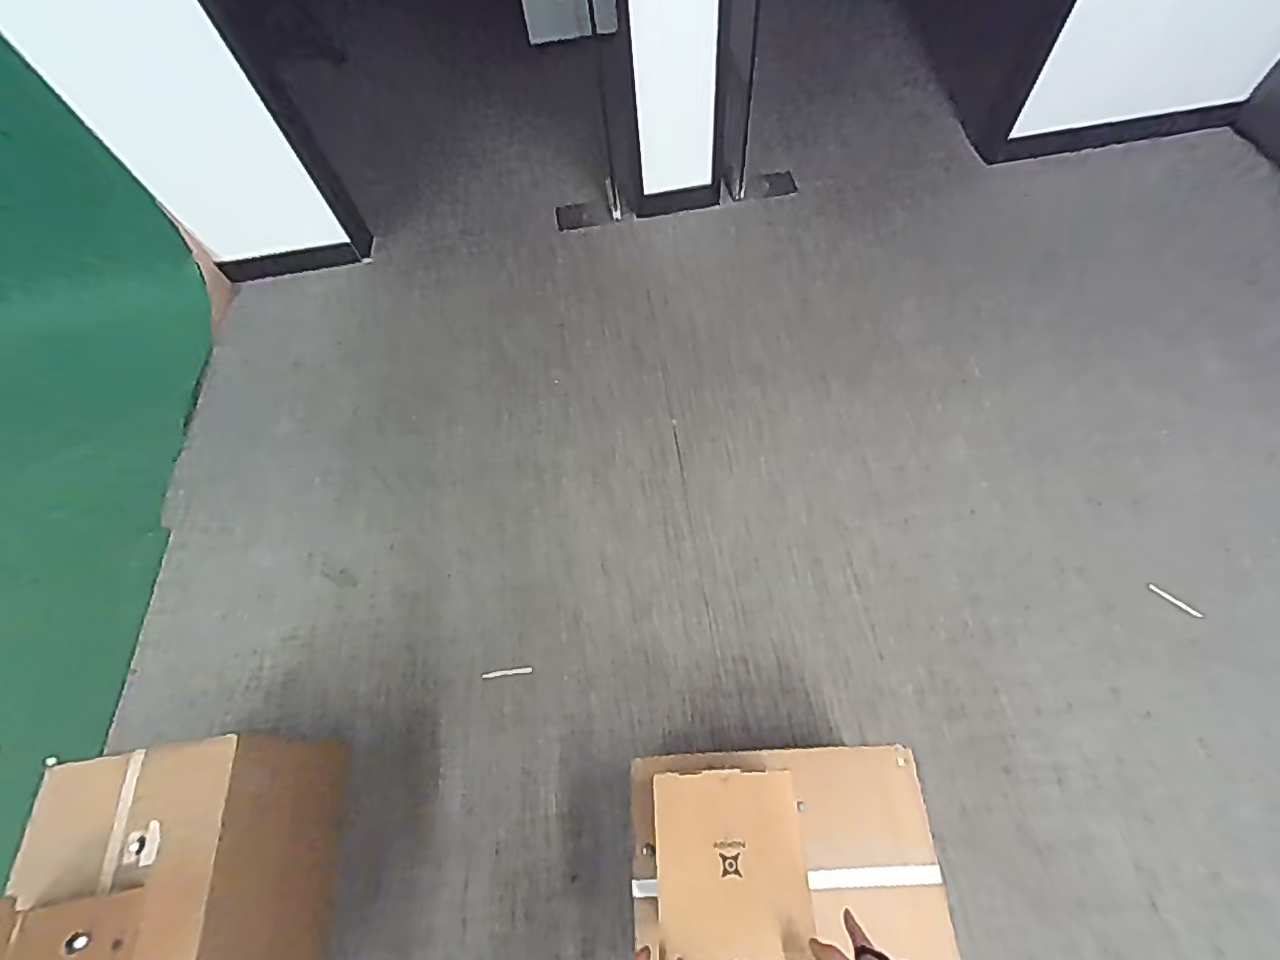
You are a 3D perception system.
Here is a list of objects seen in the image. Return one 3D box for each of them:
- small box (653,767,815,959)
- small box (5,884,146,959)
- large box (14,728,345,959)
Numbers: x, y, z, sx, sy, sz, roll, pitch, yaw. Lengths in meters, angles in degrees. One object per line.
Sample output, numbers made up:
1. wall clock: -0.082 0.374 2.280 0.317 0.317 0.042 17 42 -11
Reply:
1. small box: 0.105 0.456 0.665 0.168 0.176 0.179 -4 59 3
2. small box: -0.772 0.619 0.659 0.179 0.176 0.168 -11 61 0
3. large box: -0.745 0.670 0.907 0.320 0.320 0.408 -10 60 0
